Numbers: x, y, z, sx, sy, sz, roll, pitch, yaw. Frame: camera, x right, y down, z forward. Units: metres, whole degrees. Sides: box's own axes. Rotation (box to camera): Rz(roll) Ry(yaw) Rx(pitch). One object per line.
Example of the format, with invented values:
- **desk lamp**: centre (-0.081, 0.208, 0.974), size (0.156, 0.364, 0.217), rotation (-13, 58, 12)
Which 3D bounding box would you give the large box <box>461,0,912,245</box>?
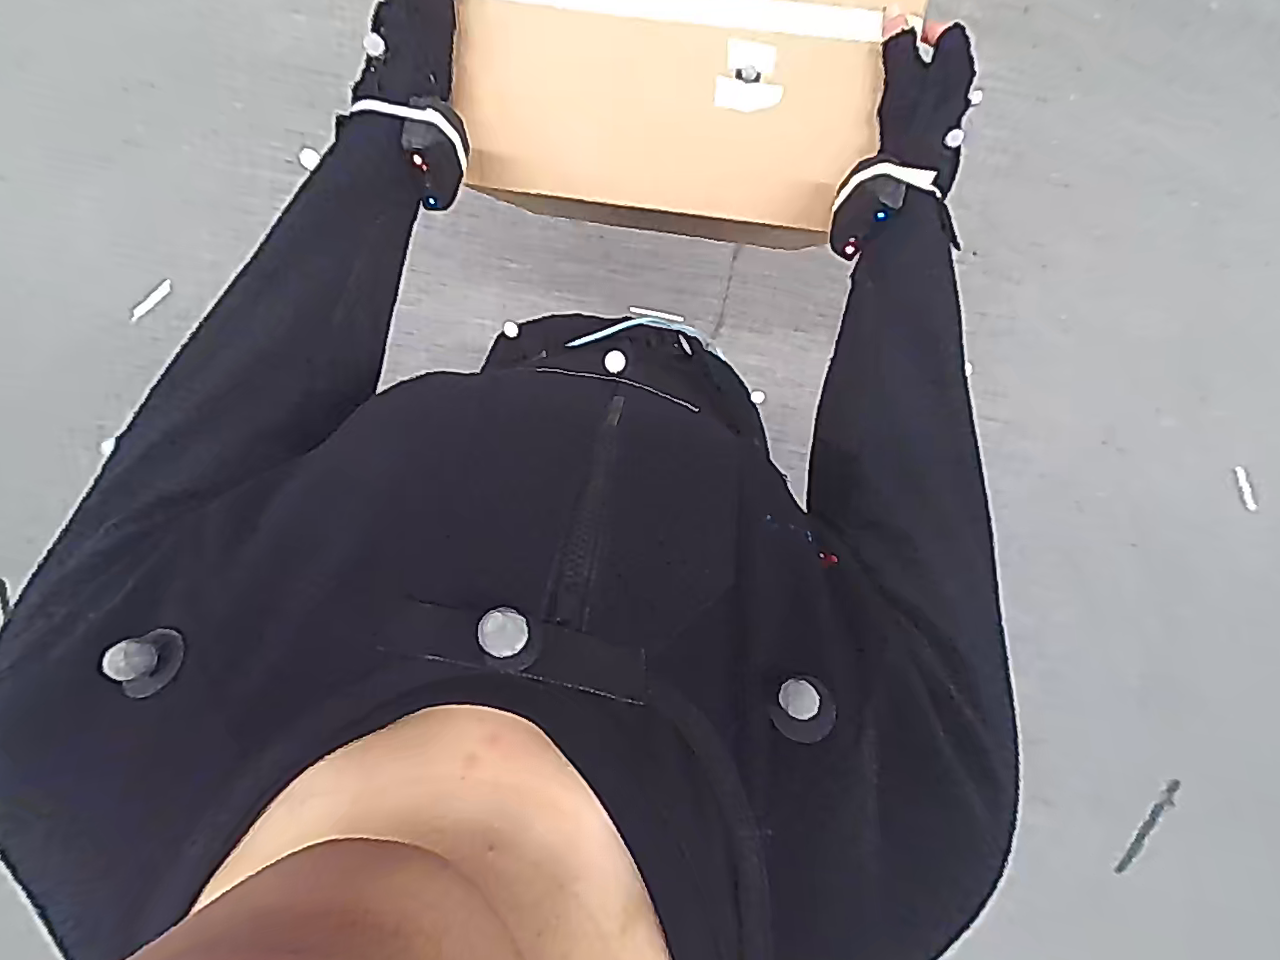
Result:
- **large box**: centre (0.042, -0.462, 0.622), size (0.408, 0.320, 0.320), rotation (7, 112, 0)
